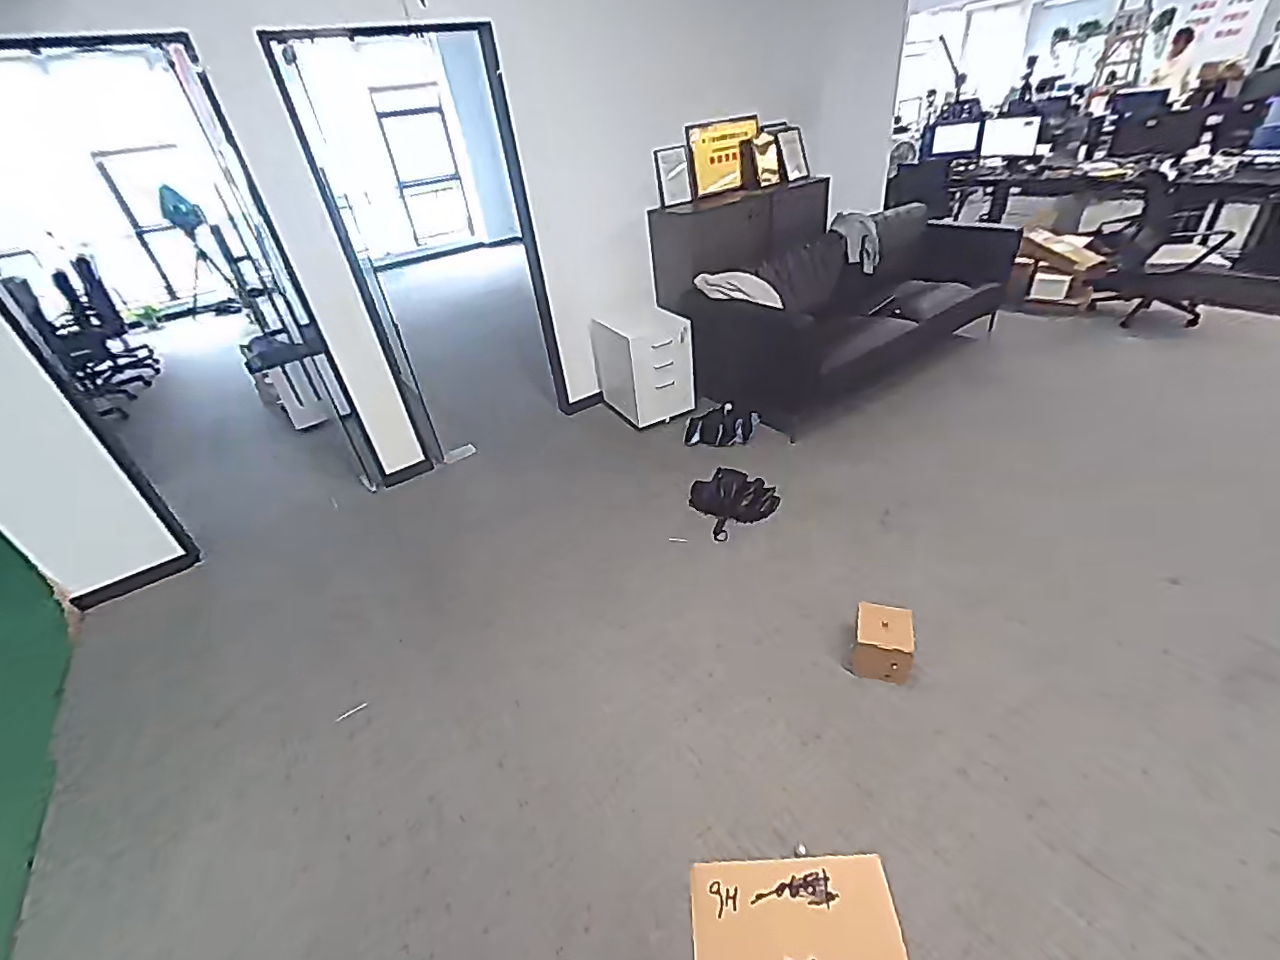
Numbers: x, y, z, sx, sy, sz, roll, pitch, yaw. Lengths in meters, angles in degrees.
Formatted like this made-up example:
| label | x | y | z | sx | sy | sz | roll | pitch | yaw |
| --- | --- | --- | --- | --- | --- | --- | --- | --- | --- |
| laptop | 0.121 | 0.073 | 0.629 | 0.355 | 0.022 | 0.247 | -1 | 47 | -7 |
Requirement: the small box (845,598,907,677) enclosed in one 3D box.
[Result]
| label | x | y | z | sx | sy | sz | roll | pitch | yaw |
| --- | --- | --- | --- | --- | --- | --- | --- | --- | --- |
| small box | 0.782 | 0.524 | 1.800 | 0.168 | 0.176 | 0.179 | 6 | 35 | 18 |
